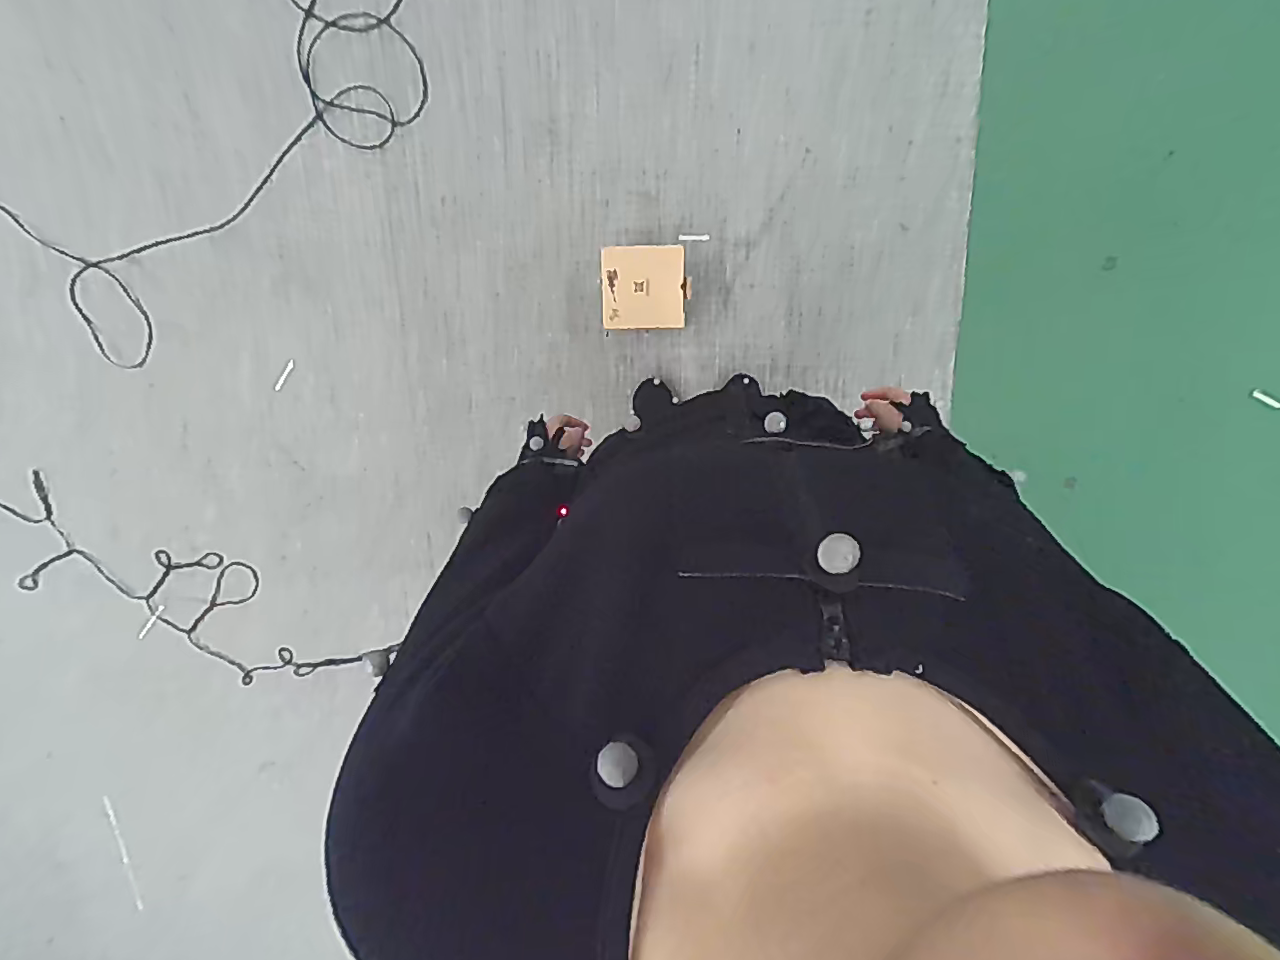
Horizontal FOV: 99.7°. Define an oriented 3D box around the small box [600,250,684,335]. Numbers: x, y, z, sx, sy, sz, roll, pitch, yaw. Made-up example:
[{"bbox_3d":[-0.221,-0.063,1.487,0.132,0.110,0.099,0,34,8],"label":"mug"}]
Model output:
[{"bbox_3d":[0.008,-0.414,1.210,0.179,0.176,0.168,0,104,4],"label":"small box"}]
